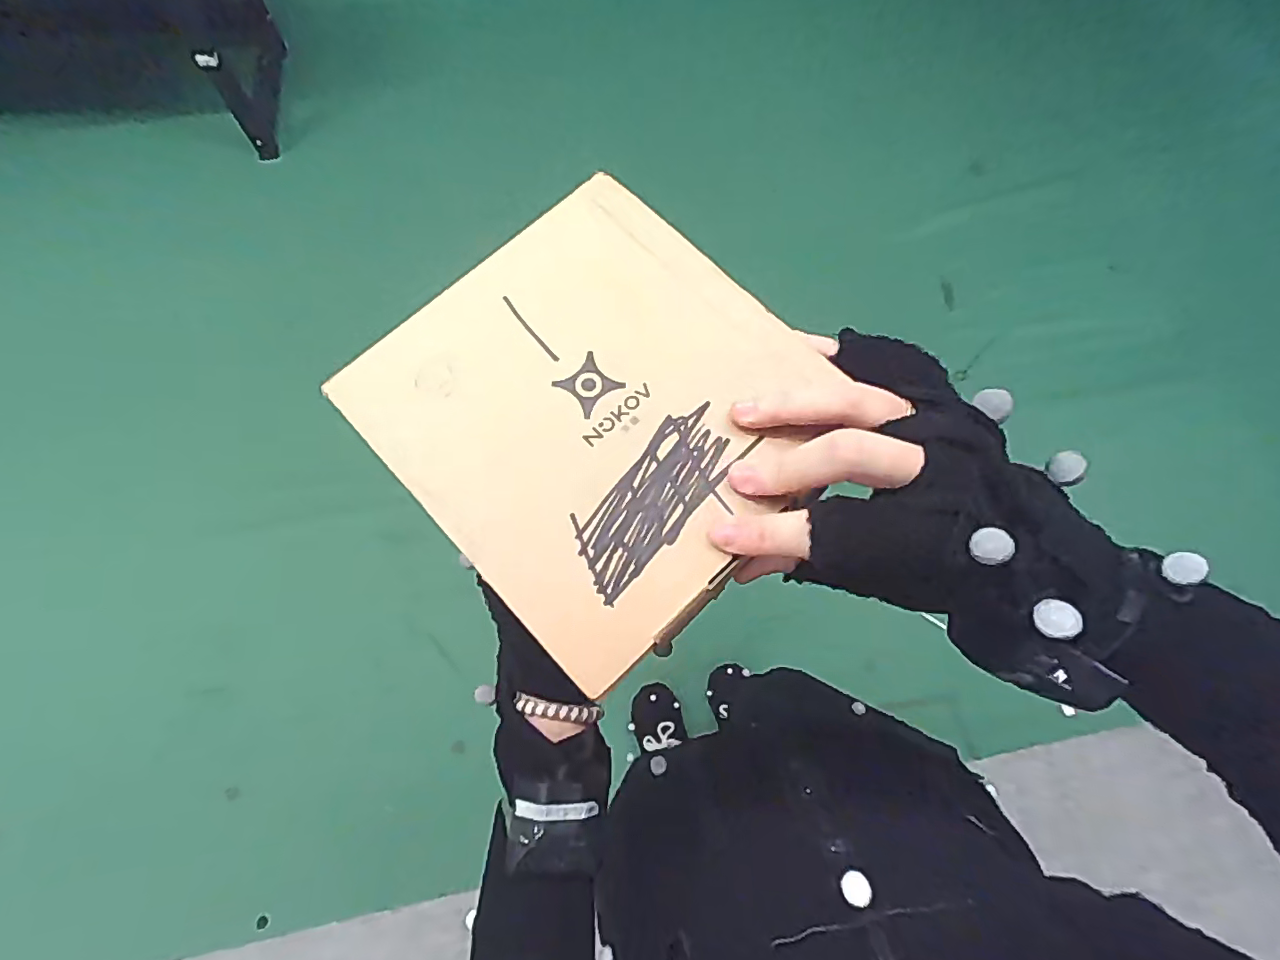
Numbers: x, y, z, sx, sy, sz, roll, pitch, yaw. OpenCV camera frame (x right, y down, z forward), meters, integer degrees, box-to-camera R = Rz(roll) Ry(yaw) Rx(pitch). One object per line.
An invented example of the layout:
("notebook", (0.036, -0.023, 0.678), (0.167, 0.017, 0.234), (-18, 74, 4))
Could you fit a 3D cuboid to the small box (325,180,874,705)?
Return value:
("small box", (-0.017, -0.010, 0.304), (0.168, 0.176, 0.179), (-43, 78, -10))
